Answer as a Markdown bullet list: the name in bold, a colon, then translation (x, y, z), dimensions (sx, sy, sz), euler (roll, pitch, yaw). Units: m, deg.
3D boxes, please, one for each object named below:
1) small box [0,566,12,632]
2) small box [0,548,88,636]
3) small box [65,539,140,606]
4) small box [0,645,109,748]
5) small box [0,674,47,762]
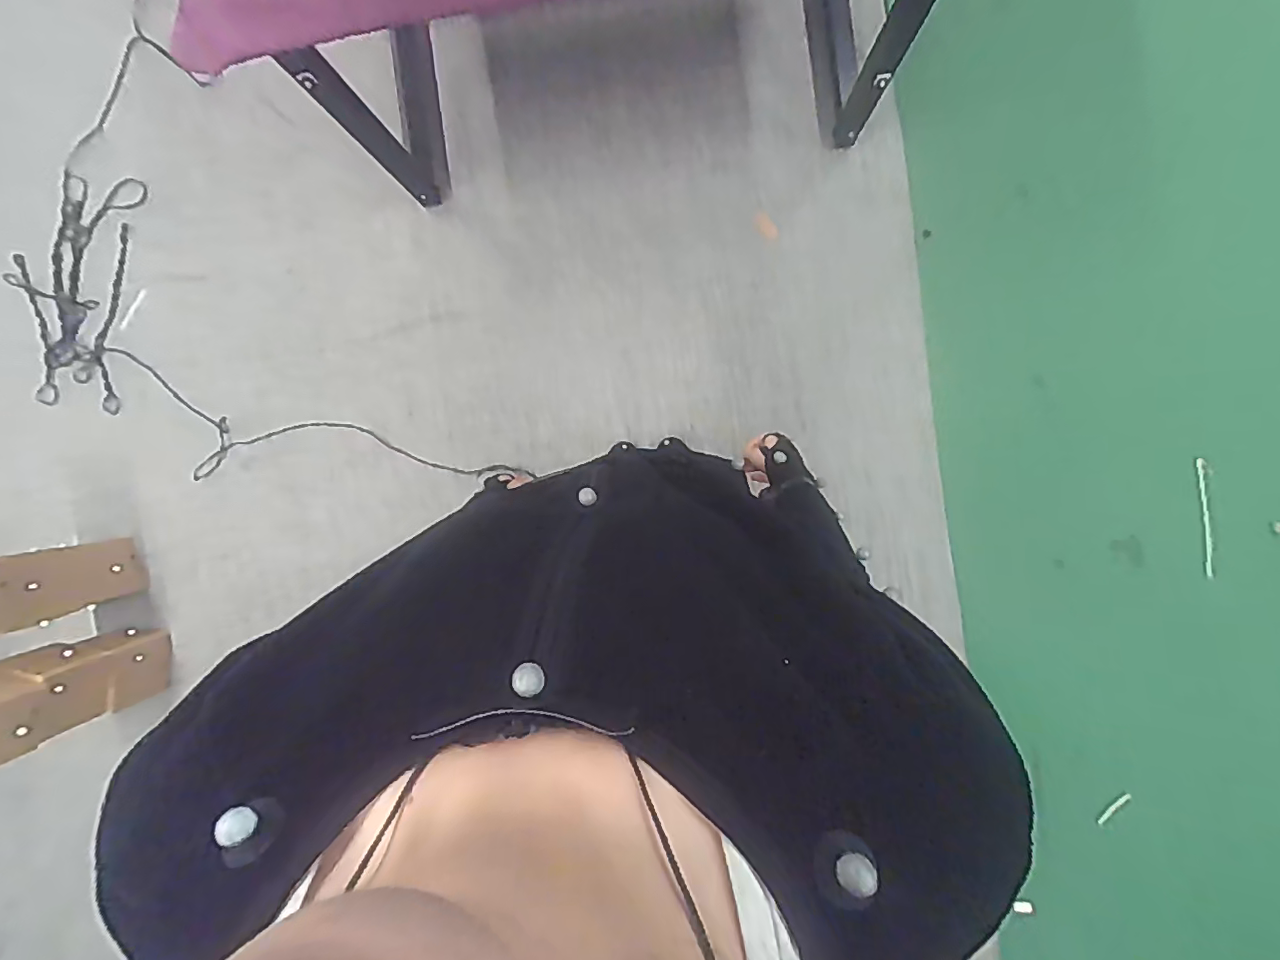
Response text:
- **small box**: translation (-1.573, 0.291, 1.202), dimensions (0.179, 0.176, 0.168), euler (-12, 92, 2)
- **small box**: translation (-1.570, 0.287, 1.365), dimensions (0.168, 0.176, 0.179), euler (-19, 92, 3)
- **small box**: translation (-1.575, 0.274, 1.527), dimensions (0.179, 0.176, 0.168), euler (-15, 92, 4)
- **small box**: translation (-1.517, 0.543, 1.377), dimensions (0.168, 0.176, 0.179), euler (9, 92, 4)
- **small box**: translation (-1.518, 0.551, 1.213), dimensions (0.179, 0.176, 0.168), euler (14, 93, 2)
